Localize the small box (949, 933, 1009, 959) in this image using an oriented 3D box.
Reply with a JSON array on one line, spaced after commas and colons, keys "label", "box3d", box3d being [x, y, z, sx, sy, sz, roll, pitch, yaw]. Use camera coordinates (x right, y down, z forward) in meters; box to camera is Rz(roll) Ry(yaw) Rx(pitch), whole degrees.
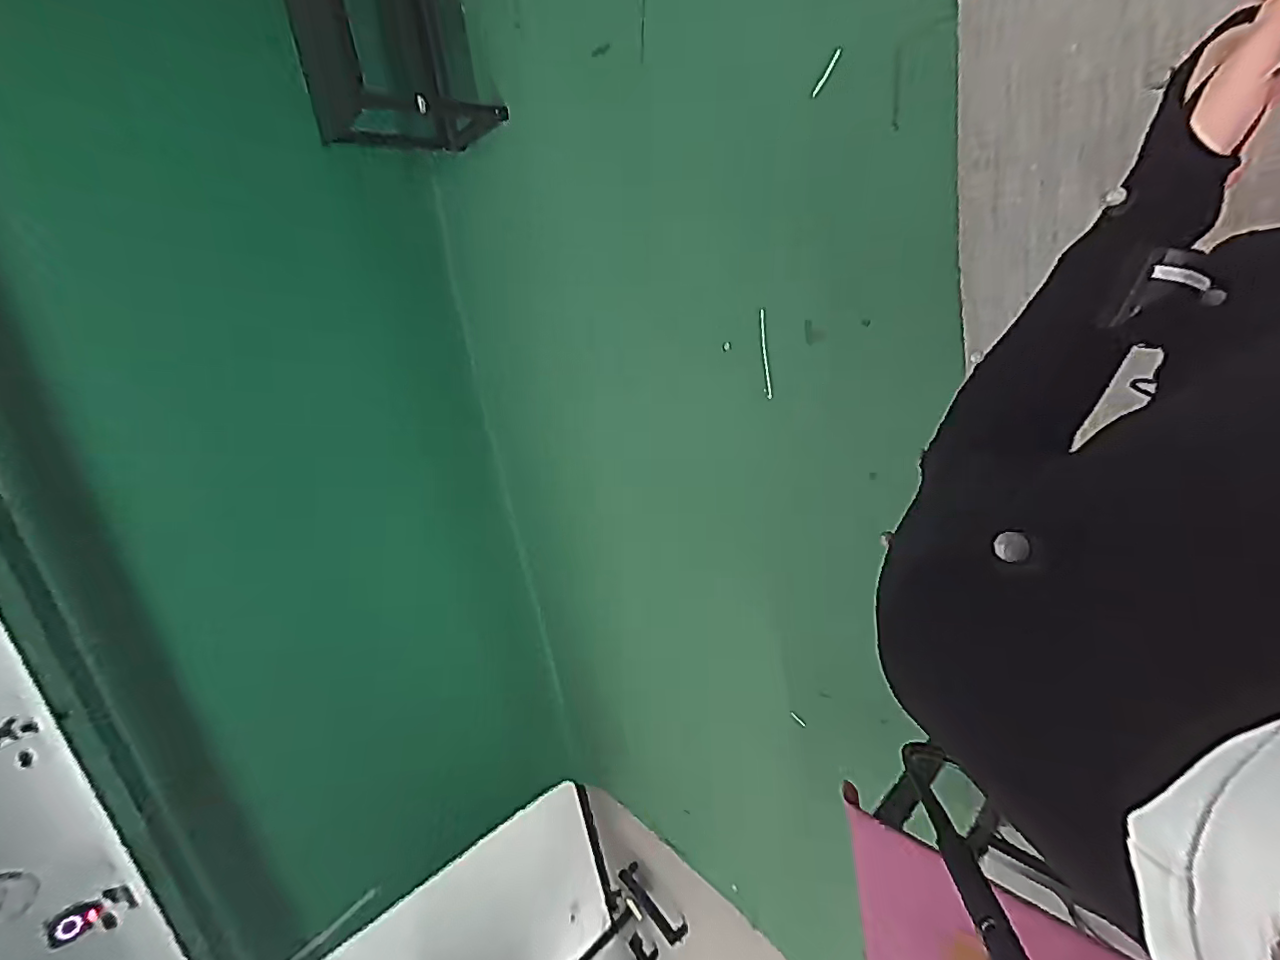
[{"label": "small box", "box3d": [0.694, 1.067, 1.062, 0.168, 0.176, 0.179, 9, 114, 48]}]
